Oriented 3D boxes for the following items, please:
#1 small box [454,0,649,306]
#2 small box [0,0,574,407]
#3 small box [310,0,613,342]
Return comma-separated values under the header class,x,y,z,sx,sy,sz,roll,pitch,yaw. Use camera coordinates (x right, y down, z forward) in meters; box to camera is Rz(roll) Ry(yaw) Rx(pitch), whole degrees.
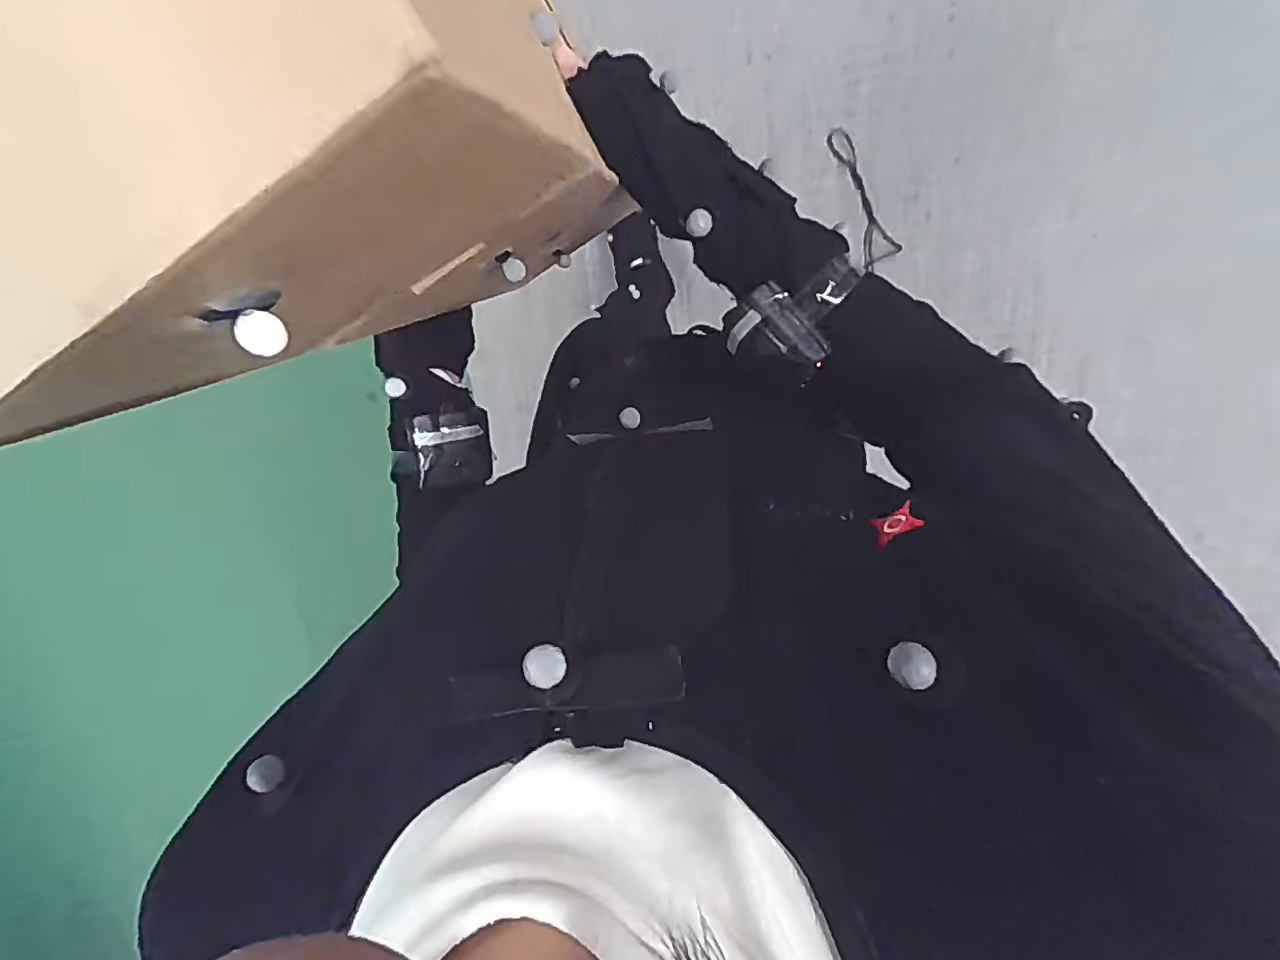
class,x,y,z,sx,sy,sz,roll,pitch,yaw
small box,-0.105,-0.272,0.448,0.179,0.176,0.168,-30,108,17
small box,-0.142,-0.137,0.154,0.179,0.176,0.168,-24,111,15
small box,-0.131,-0.207,0.301,0.168,0.176,0.179,-26,109,17
